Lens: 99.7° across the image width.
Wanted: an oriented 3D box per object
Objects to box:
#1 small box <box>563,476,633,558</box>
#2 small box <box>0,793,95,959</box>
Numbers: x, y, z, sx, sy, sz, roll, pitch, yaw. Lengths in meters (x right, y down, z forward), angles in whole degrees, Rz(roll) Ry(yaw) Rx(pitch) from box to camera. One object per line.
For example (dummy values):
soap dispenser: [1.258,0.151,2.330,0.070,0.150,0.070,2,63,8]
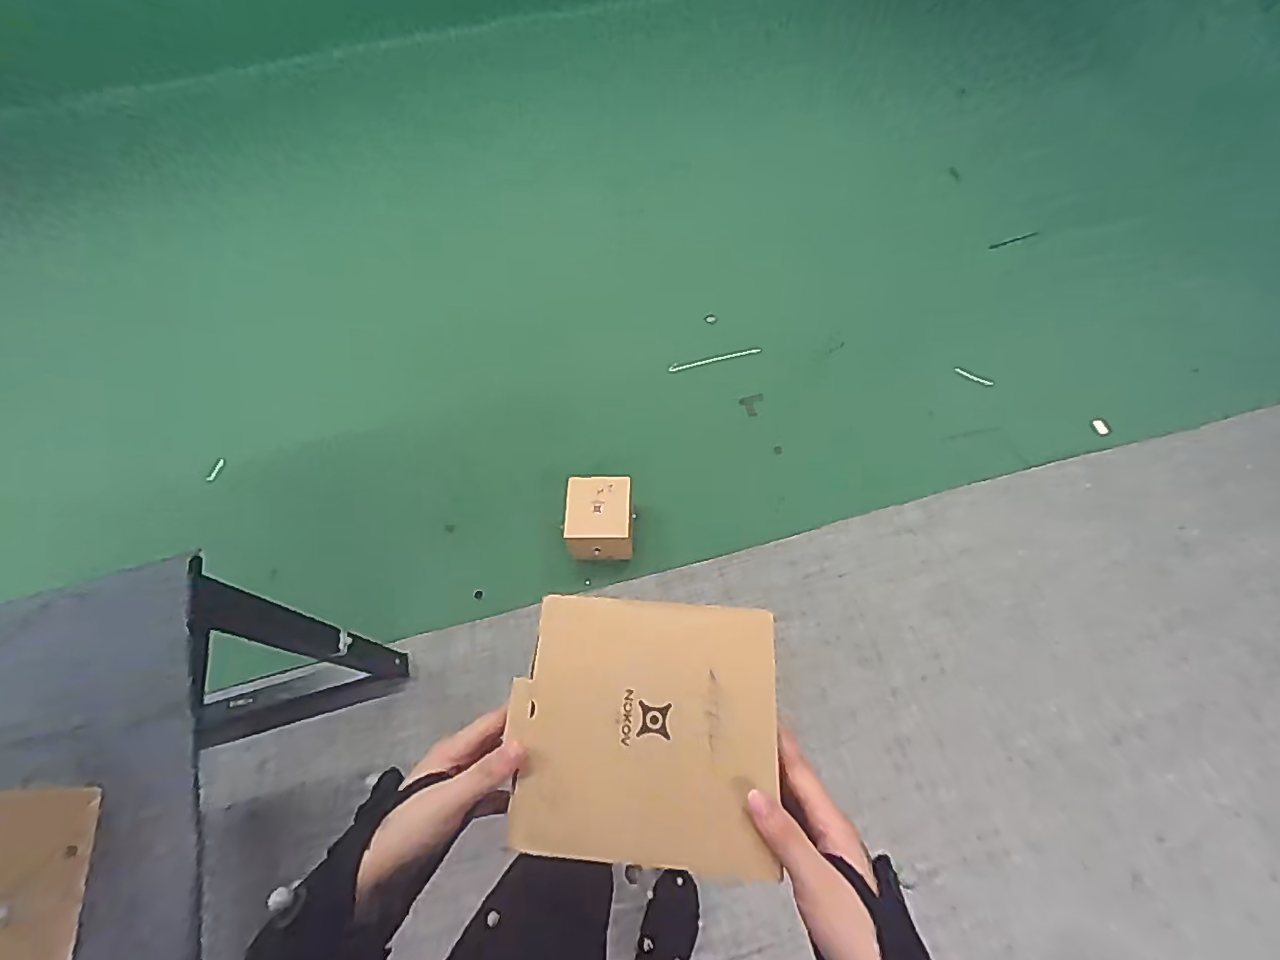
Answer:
small box: [-0.106,0.104,1.453,0.168,0.176,0.179,1,63,2]
small box: [-0.678,0.407,0.501,0.179,0.176,0.168,-15,63,-4]
